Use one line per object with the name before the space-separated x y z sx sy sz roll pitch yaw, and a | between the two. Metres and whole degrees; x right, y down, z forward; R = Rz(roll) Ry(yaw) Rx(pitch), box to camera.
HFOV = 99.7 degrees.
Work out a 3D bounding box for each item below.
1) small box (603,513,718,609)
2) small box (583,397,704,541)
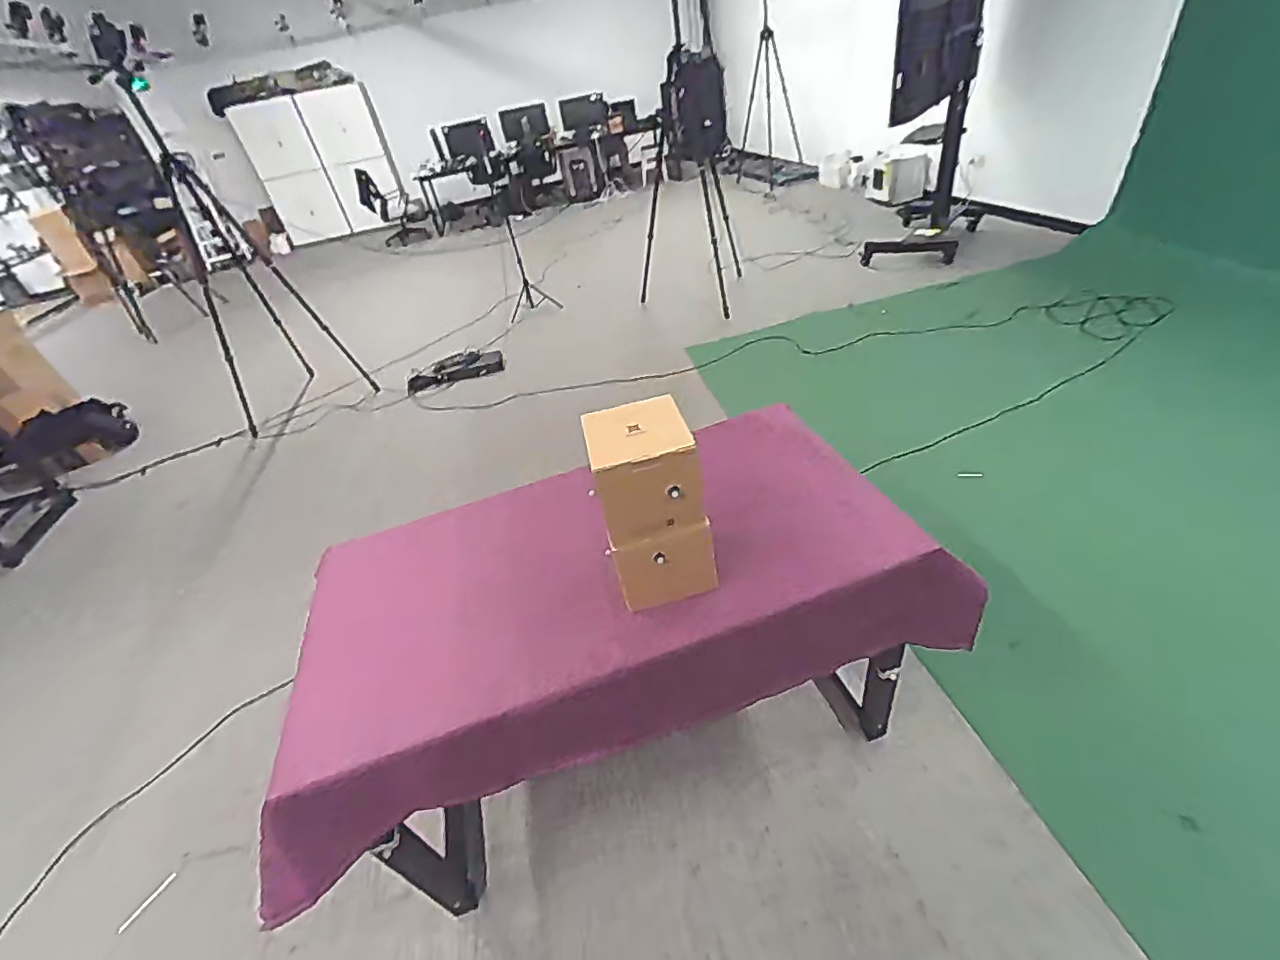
small box | 0.037 0.118 1.023 0.179 0.176 0.168 -15 38 -2
small box | 0.006 -0.014 0.931 0.168 0.176 0.179 -14 37 -2
